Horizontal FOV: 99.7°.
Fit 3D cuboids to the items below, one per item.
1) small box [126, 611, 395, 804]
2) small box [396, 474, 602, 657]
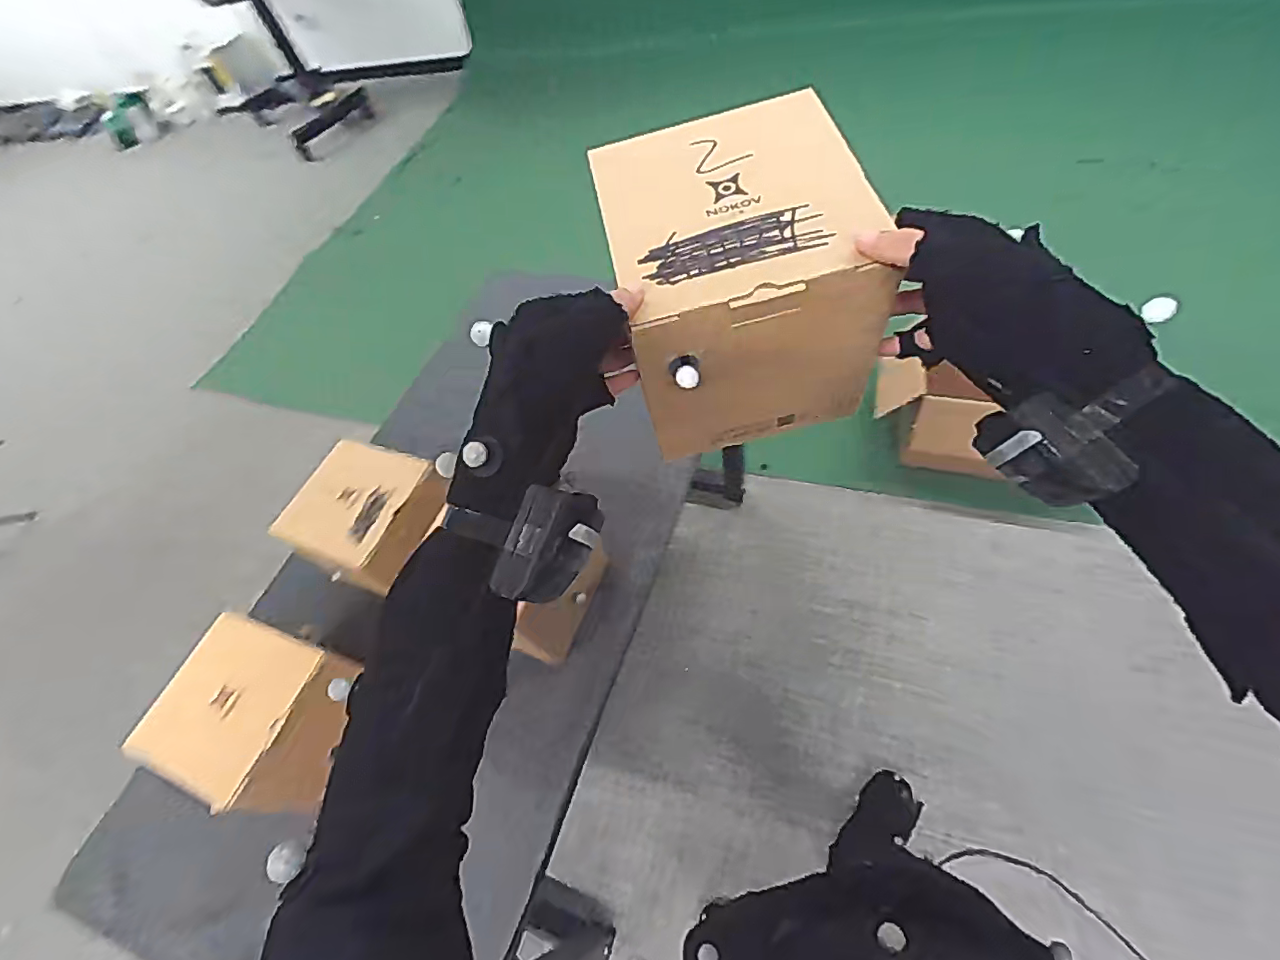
[{"bbox_3d":[-0.455,0.290,0.678,0.179,0.176,0.168,13,62,18],"label":"small box"},{"bbox_3d":[-0.174,0.118,0.723,0.179,0.176,0.168,14,62,20],"label":"small box"}]
